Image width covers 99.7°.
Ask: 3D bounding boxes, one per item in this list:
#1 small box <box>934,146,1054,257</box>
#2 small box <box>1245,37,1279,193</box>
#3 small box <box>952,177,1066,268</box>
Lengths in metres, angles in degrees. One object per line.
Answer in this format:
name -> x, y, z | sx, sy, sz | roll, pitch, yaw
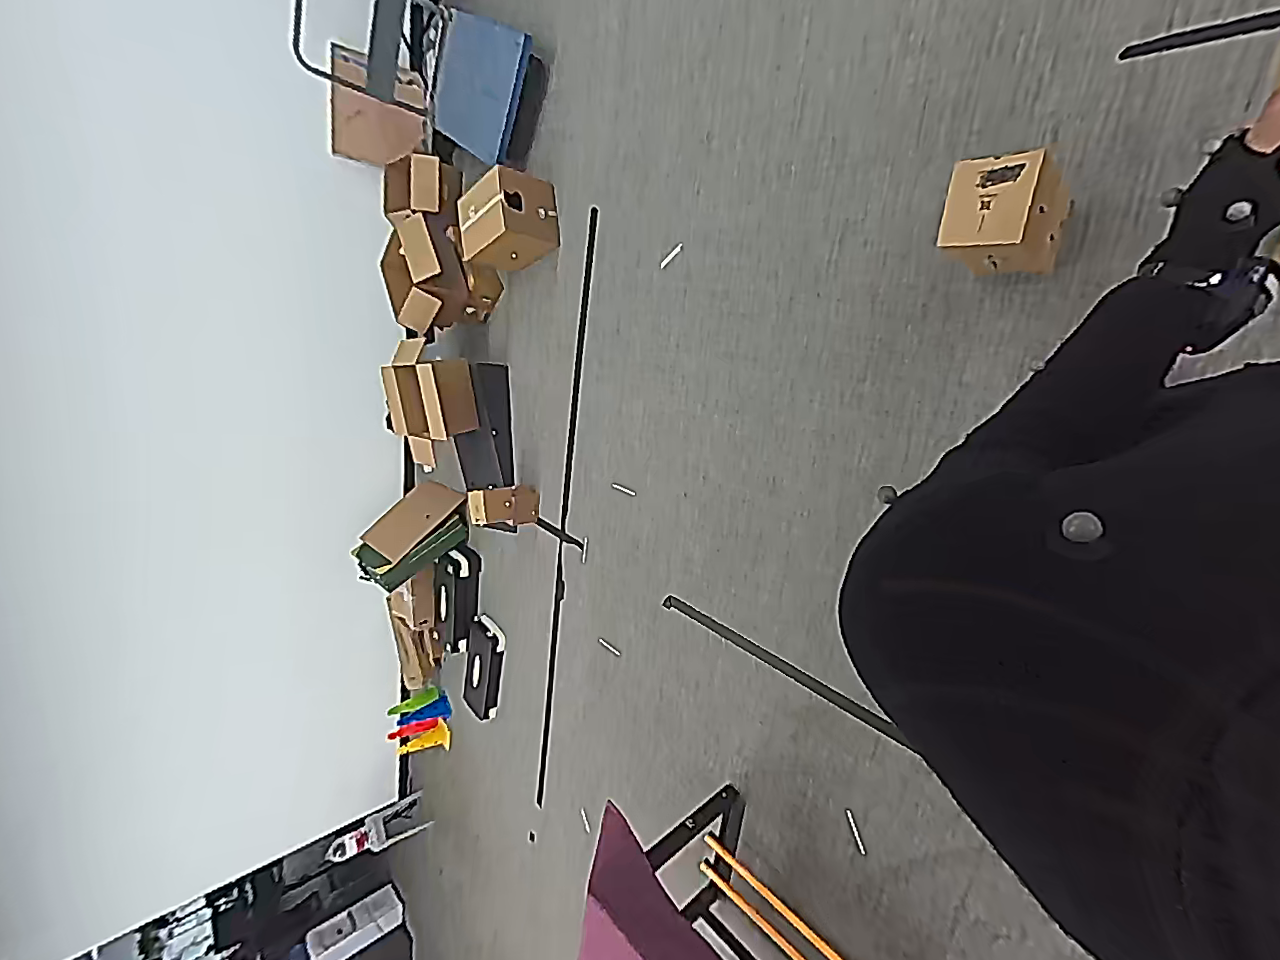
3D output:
small box -> 0.774, -0.596, 1.179 | 0.168, 0.176, 0.179 | 21, 111, 43
small box -> 0.638, -0.347, 0.434 | 0.168, 0.176, 0.179 | 12, 106, 37
small box -> 0.888, -0.610, 1.297 | 0.179, 0.176, 0.168 | 20, 110, 43
